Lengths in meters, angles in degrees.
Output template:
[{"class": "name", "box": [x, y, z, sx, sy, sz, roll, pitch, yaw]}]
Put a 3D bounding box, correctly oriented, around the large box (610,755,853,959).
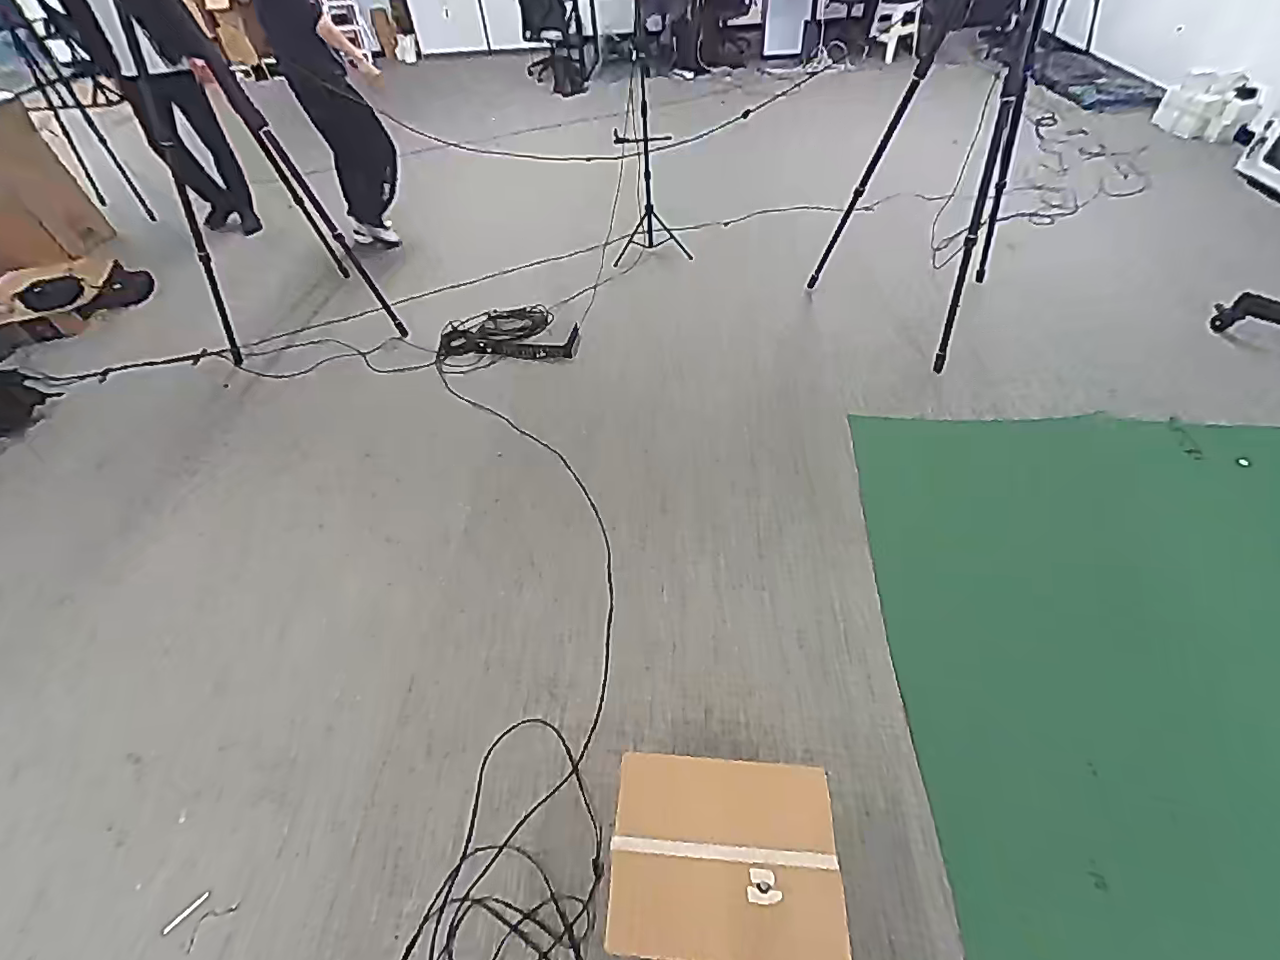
[{"class": "large box", "box": [0.161, 0.776, 1.084, 0.408, 0.320, 0.320, 2, 48, 5]}]
